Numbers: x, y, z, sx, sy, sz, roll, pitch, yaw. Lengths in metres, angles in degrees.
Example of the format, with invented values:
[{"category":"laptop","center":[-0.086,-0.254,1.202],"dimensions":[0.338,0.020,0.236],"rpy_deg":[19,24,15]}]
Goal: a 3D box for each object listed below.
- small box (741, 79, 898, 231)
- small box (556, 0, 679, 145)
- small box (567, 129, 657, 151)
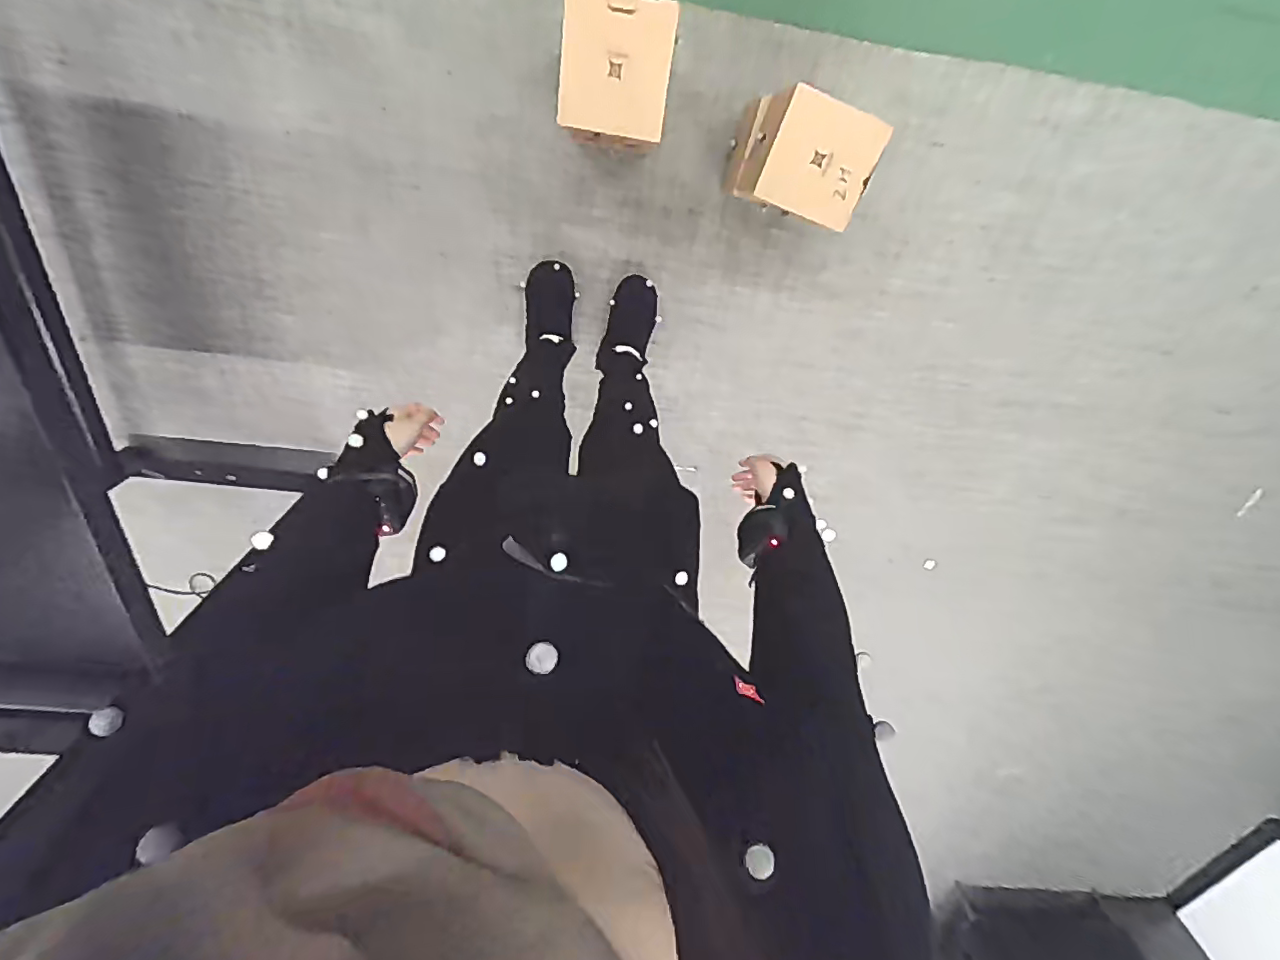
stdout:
[{"category":"small box","center":[0.292,-0.550,0.927],"dimensions":[0.179,0.176,0.168],"rpy_deg":[16,120,-11]},{"category":"small box","center":[-0.036,-0.649,0.862],"dimensions":[0.168,0.176,0.179],"rpy_deg":[6,119,-5]},{"category":"small box","center":[-0.040,-0.724,1.006],"dimensions":[0.168,0.176,0.179],"rpy_deg":[5,120,-4]}]
